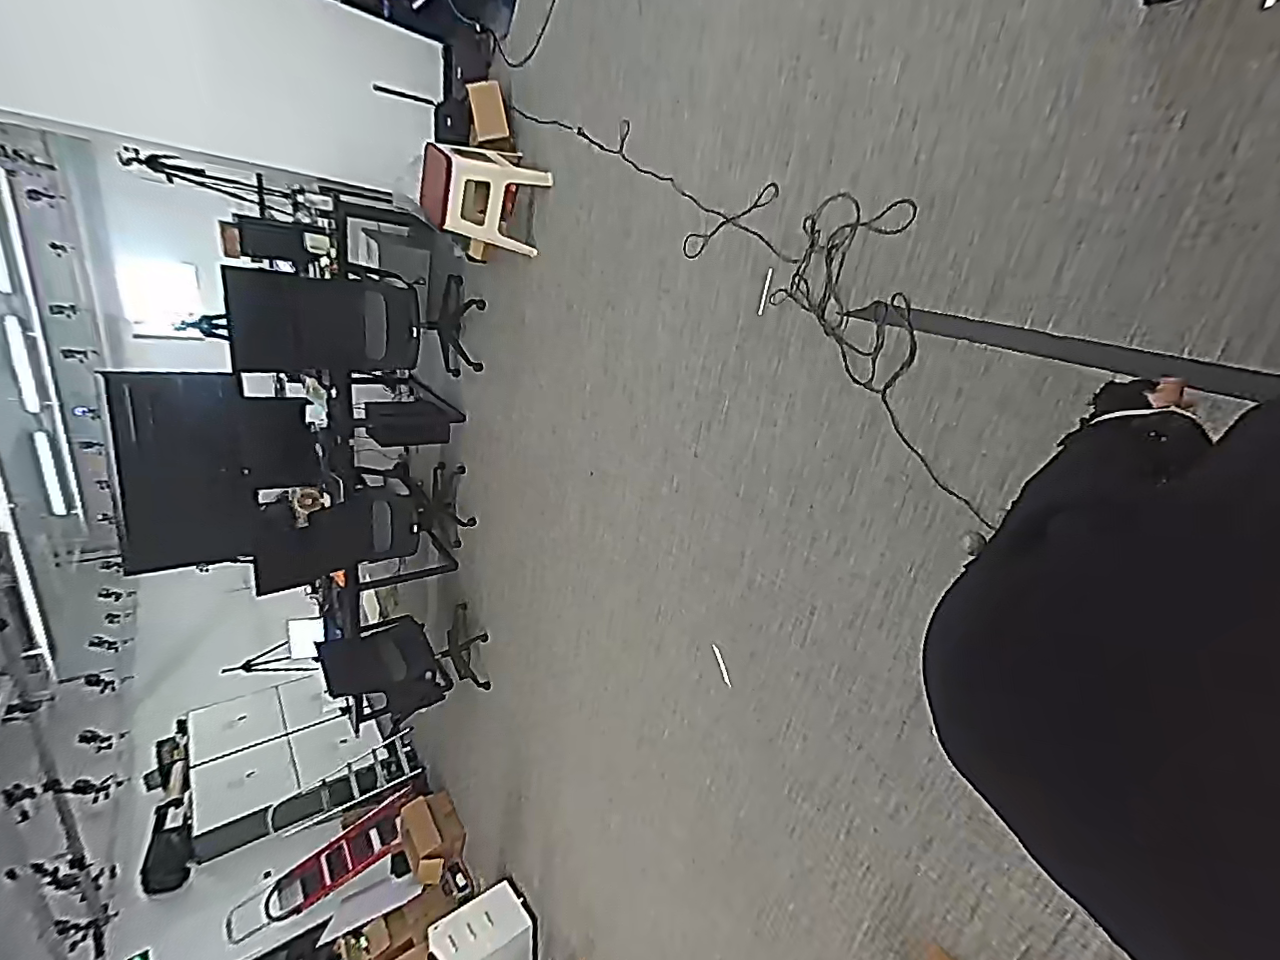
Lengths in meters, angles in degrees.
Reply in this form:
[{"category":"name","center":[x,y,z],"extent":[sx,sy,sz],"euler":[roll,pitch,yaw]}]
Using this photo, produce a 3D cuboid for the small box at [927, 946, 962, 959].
[{"category":"small box","center":[0.813,1.387,1.420],"extent":[0.179,0.176,0.168],"euler":[33,121,43]}]
